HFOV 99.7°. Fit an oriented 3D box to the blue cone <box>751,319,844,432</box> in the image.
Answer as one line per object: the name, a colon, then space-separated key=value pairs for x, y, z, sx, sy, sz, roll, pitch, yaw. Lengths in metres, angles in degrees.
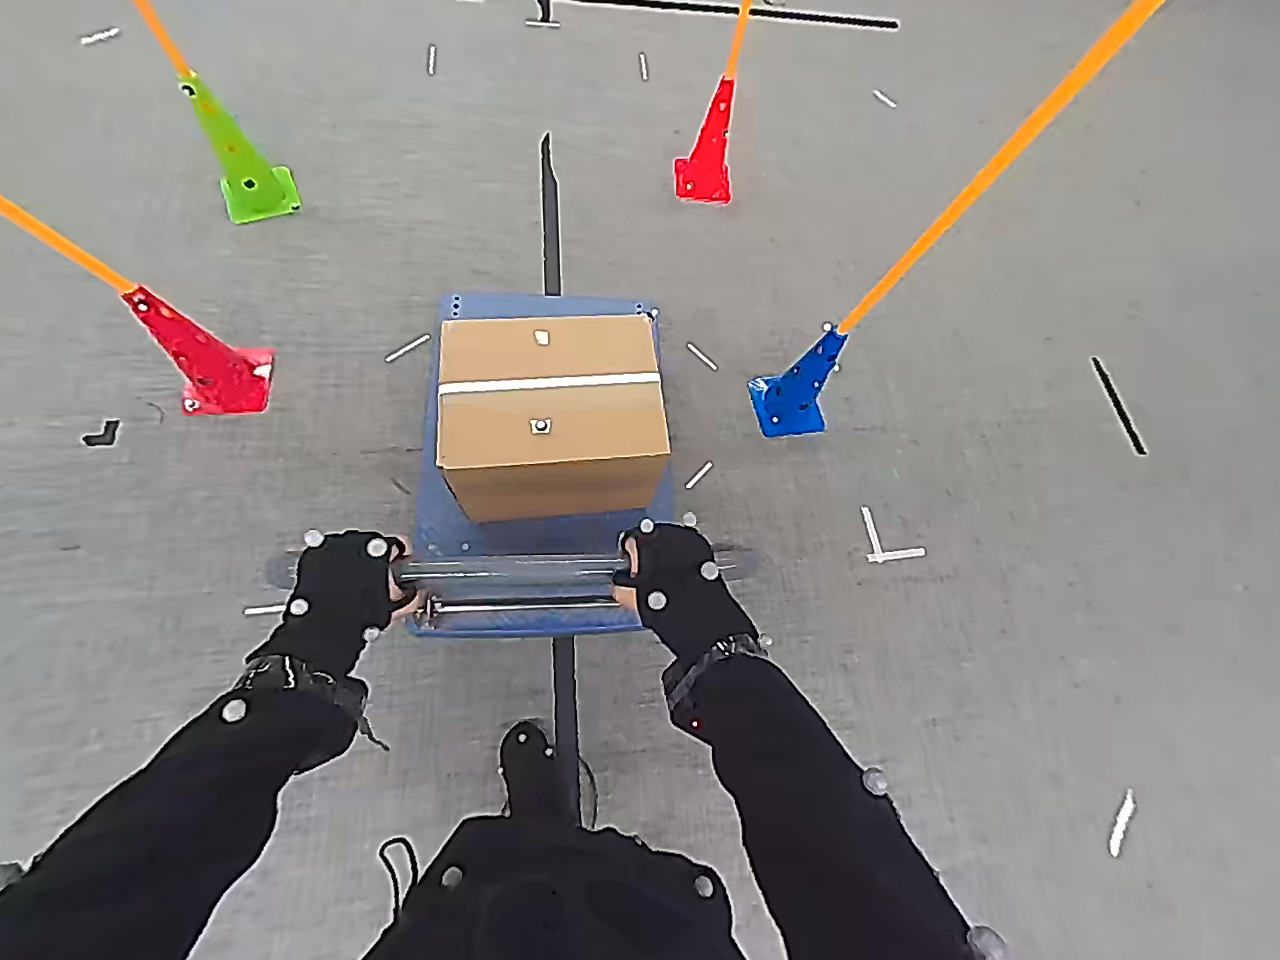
blue cone: x=0.460 y=-0.296 z=1.474 sx=0.193 sy=0.380 sz=0.192 roll=-6 pitch=68 yaw=-10

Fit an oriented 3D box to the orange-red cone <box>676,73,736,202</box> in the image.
orange-red cone: x=0.248 y=-1.133 z=1.765 sx=0.199 sy=0.360 sz=0.198 roll=4 pitch=69 yaw=-7
